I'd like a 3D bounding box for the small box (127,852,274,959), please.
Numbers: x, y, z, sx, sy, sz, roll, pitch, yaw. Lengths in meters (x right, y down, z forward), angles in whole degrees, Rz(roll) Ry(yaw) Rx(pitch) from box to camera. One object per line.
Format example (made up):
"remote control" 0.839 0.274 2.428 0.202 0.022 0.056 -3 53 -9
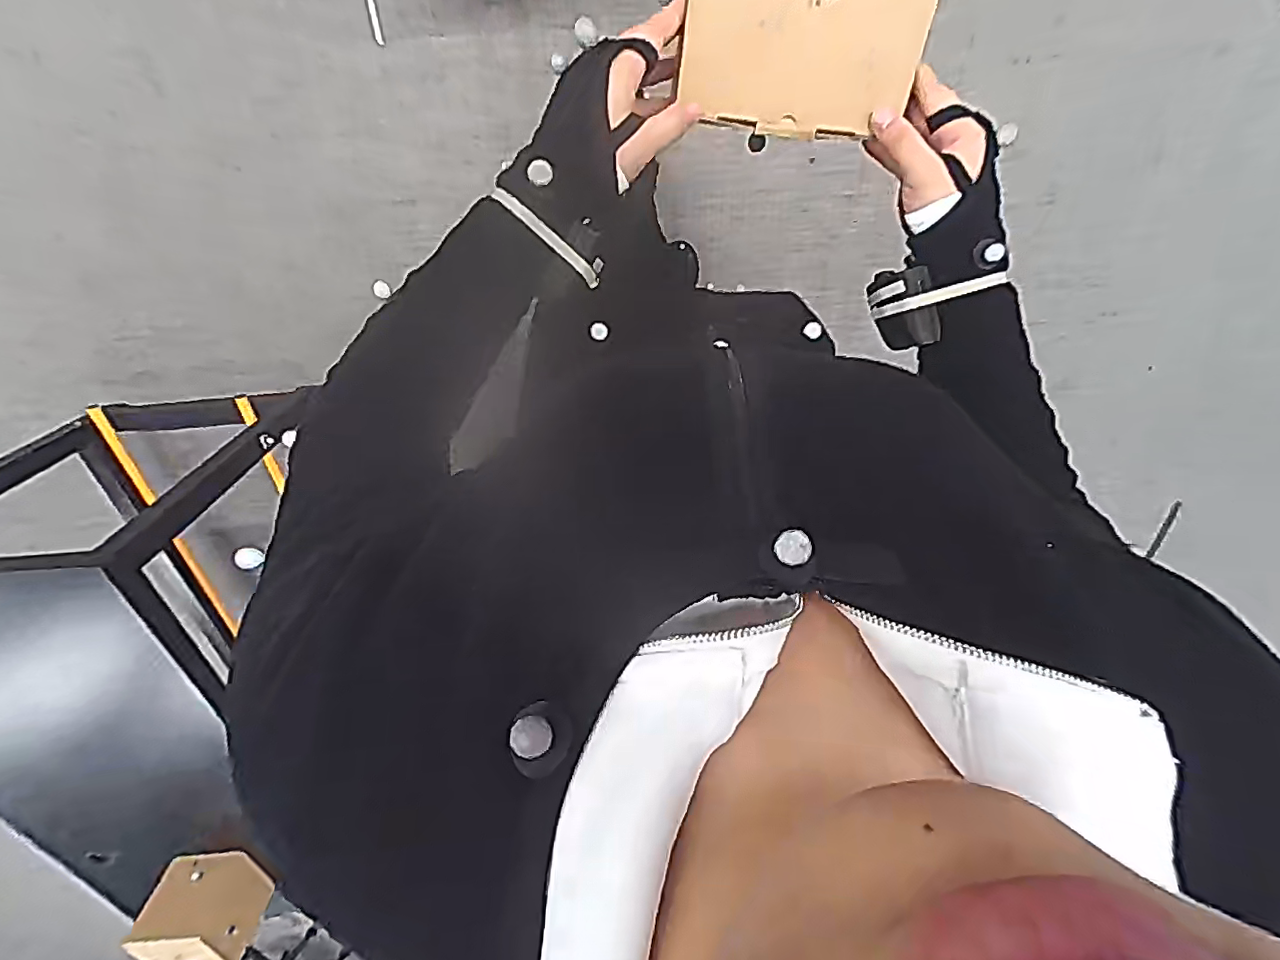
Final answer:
"small box" -0.995 0.995 1.248 0.168 0.176 0.179 -6 121 1

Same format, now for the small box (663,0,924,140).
"small box" 0.110 -0.380 0.420 0.168 0.176 0.179 4 124 -4
